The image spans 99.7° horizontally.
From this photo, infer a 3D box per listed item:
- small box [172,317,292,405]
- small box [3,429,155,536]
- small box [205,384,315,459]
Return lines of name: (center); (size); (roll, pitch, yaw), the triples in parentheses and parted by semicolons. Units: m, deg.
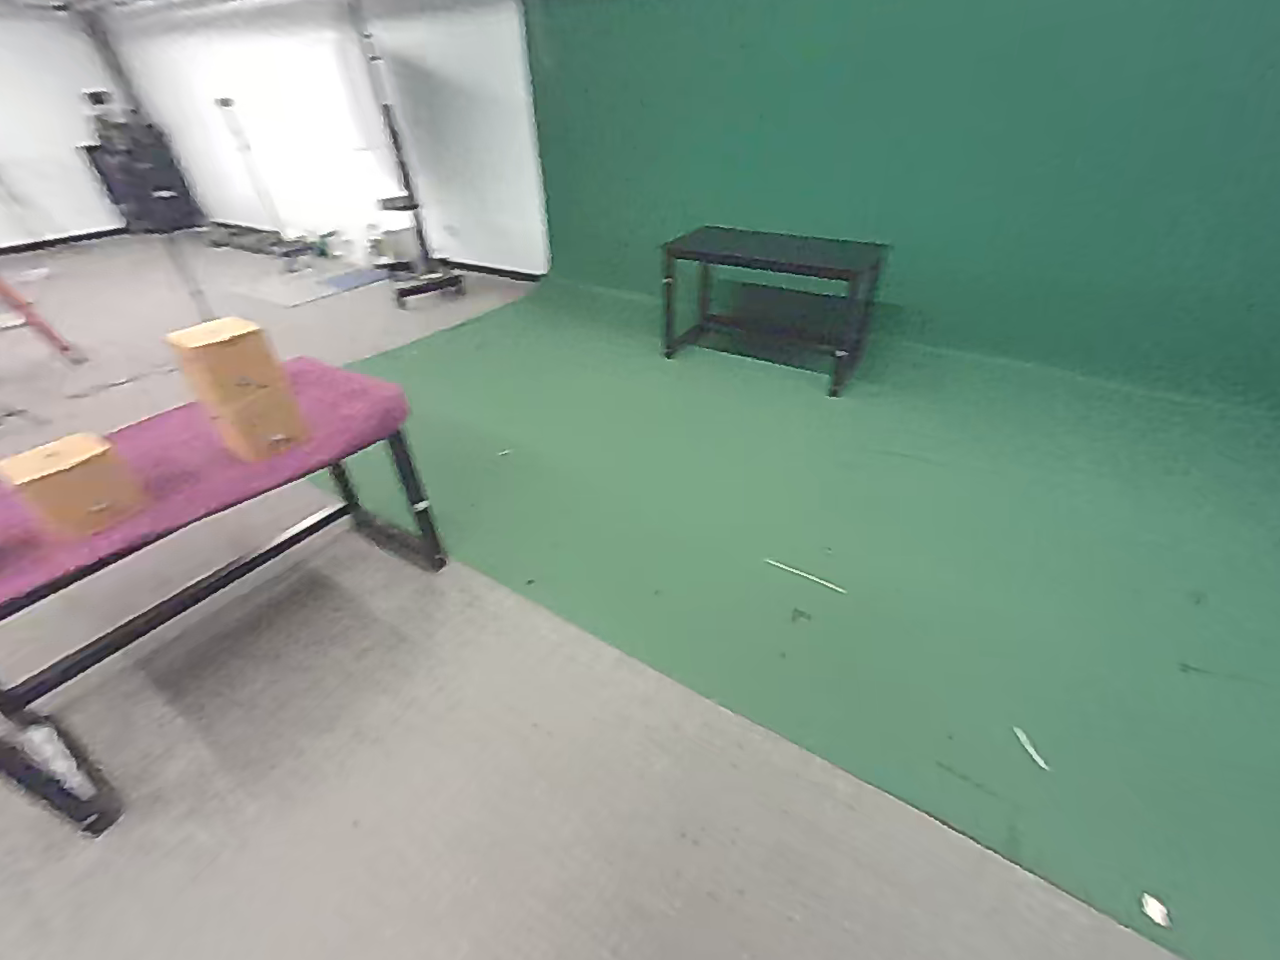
small box: (-1.065, -0.313, 1.421); (0.179, 0.176, 0.168); (20, 41, 27)
small box: (-1.301, 0.006, 1.263); (0.179, 0.176, 0.168); (18, 41, 27)
small box: (-1.057, -0.179, 1.513); (0.179, 0.176, 0.168); (21, 42, 27)
